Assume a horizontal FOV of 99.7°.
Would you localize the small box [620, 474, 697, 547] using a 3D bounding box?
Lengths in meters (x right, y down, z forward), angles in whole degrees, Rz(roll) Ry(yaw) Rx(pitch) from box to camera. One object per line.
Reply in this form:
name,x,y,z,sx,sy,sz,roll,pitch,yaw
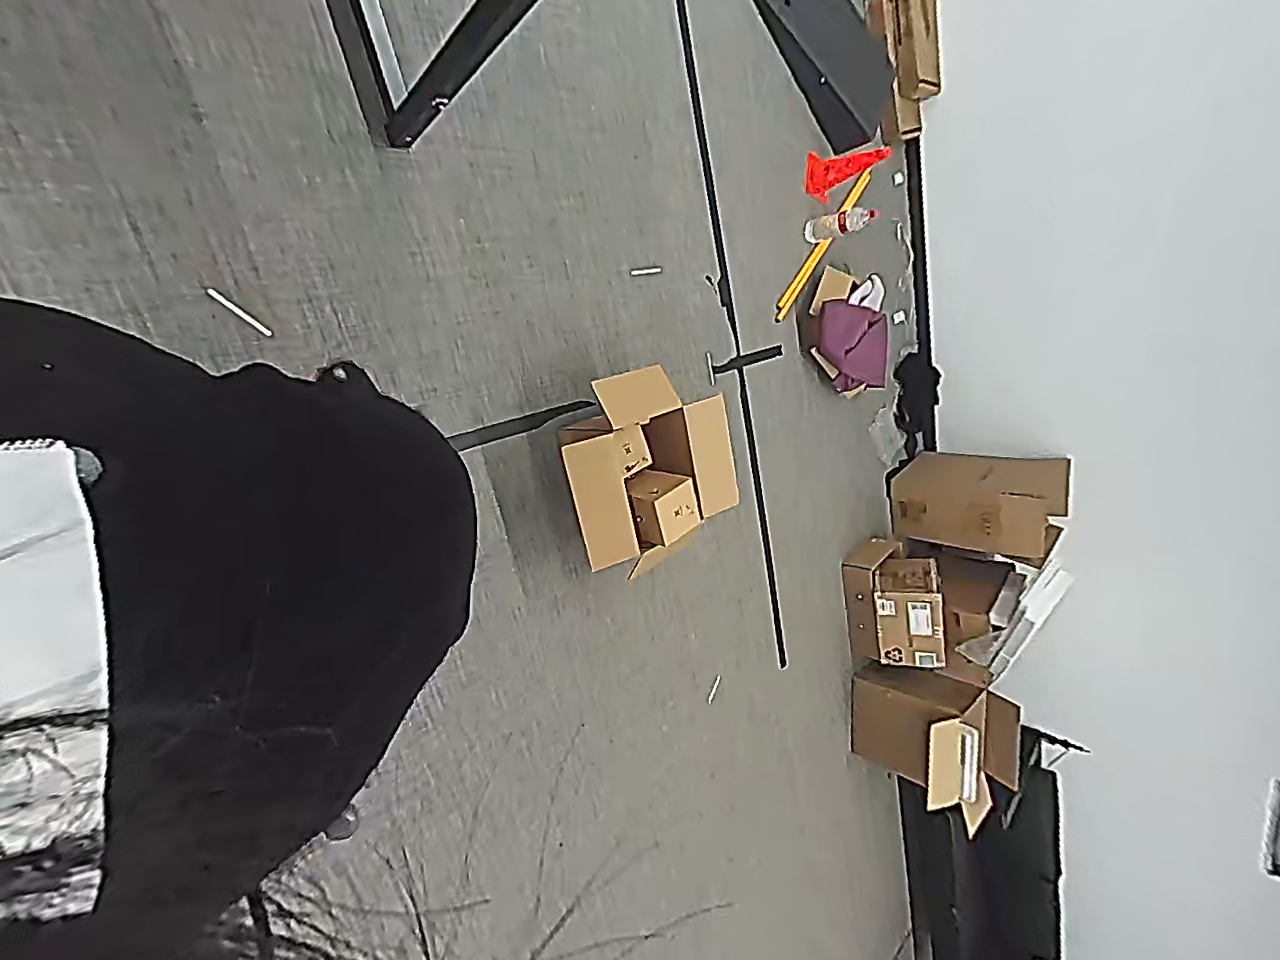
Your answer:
small box,0.055,0.093,1.757,0.179,0.176,0.168,-31,118,-35
